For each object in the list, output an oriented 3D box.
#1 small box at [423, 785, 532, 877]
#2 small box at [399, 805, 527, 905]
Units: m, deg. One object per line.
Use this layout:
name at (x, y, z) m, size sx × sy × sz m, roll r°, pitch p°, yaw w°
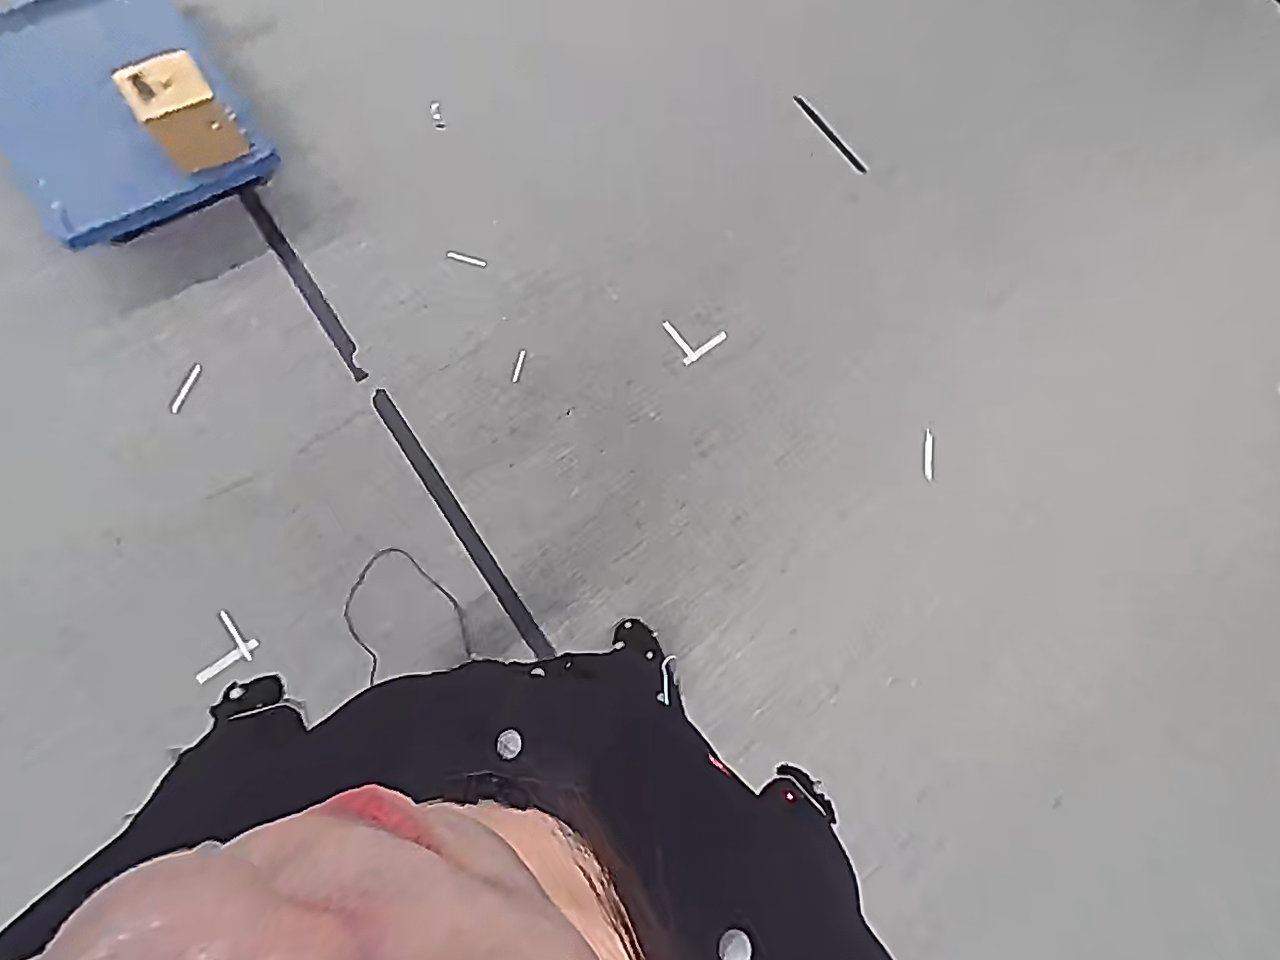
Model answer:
small box at (-0.365, 0.852, 1.251) m, size 0.168 × 0.176 × 0.179 m, roll -34°, pitch 82°, yaw -14°
small box at (-0.346, 0.808, 1.095) m, size 0.179 × 0.176 × 0.168 m, roll -34°, pitch 83°, yaw -14°
